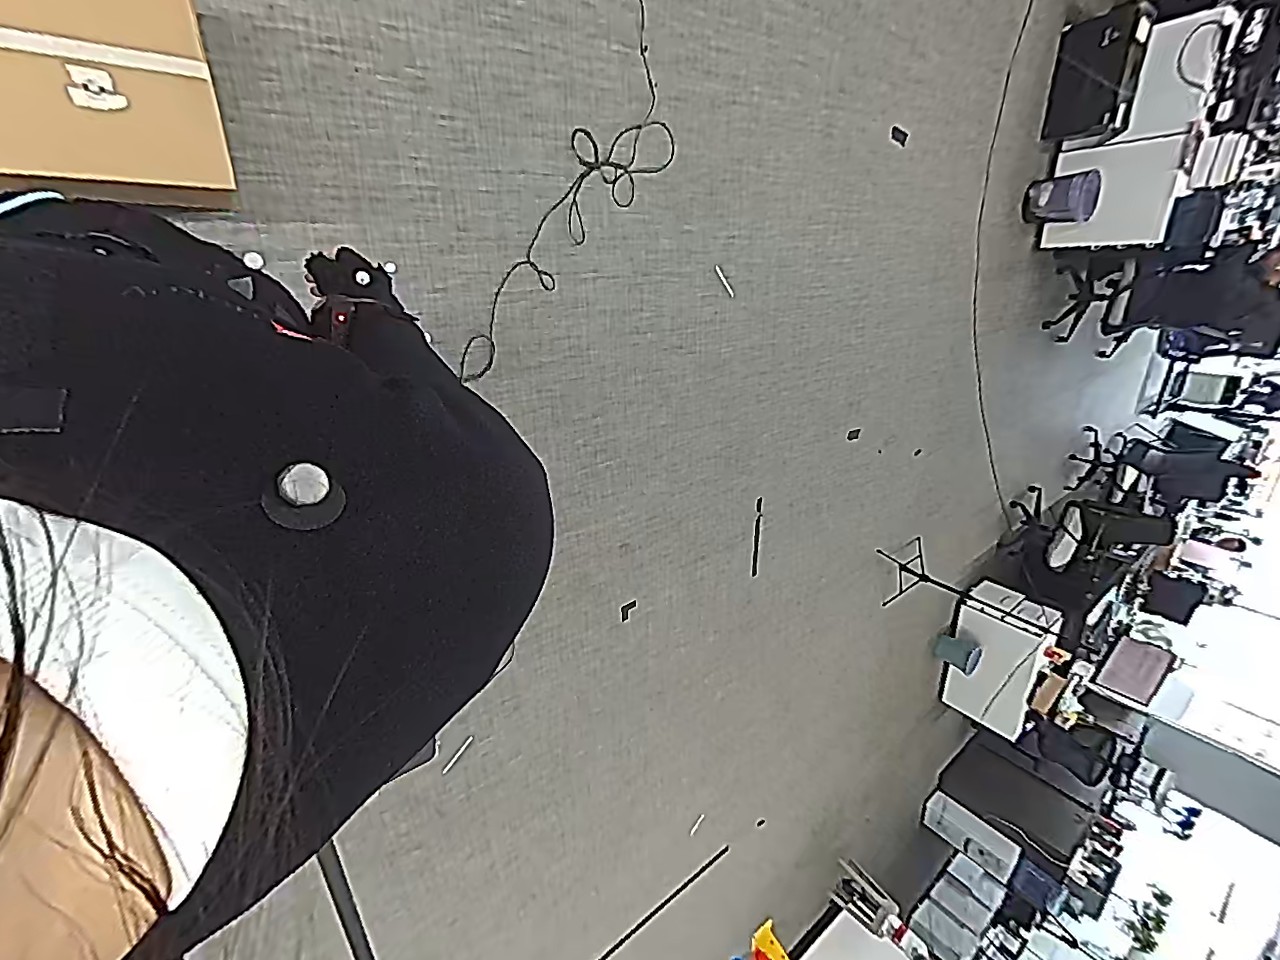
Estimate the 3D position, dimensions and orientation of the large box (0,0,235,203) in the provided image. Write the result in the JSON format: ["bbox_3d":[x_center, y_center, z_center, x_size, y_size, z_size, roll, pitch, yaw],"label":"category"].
[{"bbox_3d":[-0.897,-0.610,0.807,0.408,0.320,0.320,-16,116,-35],"label":"large box"}]
